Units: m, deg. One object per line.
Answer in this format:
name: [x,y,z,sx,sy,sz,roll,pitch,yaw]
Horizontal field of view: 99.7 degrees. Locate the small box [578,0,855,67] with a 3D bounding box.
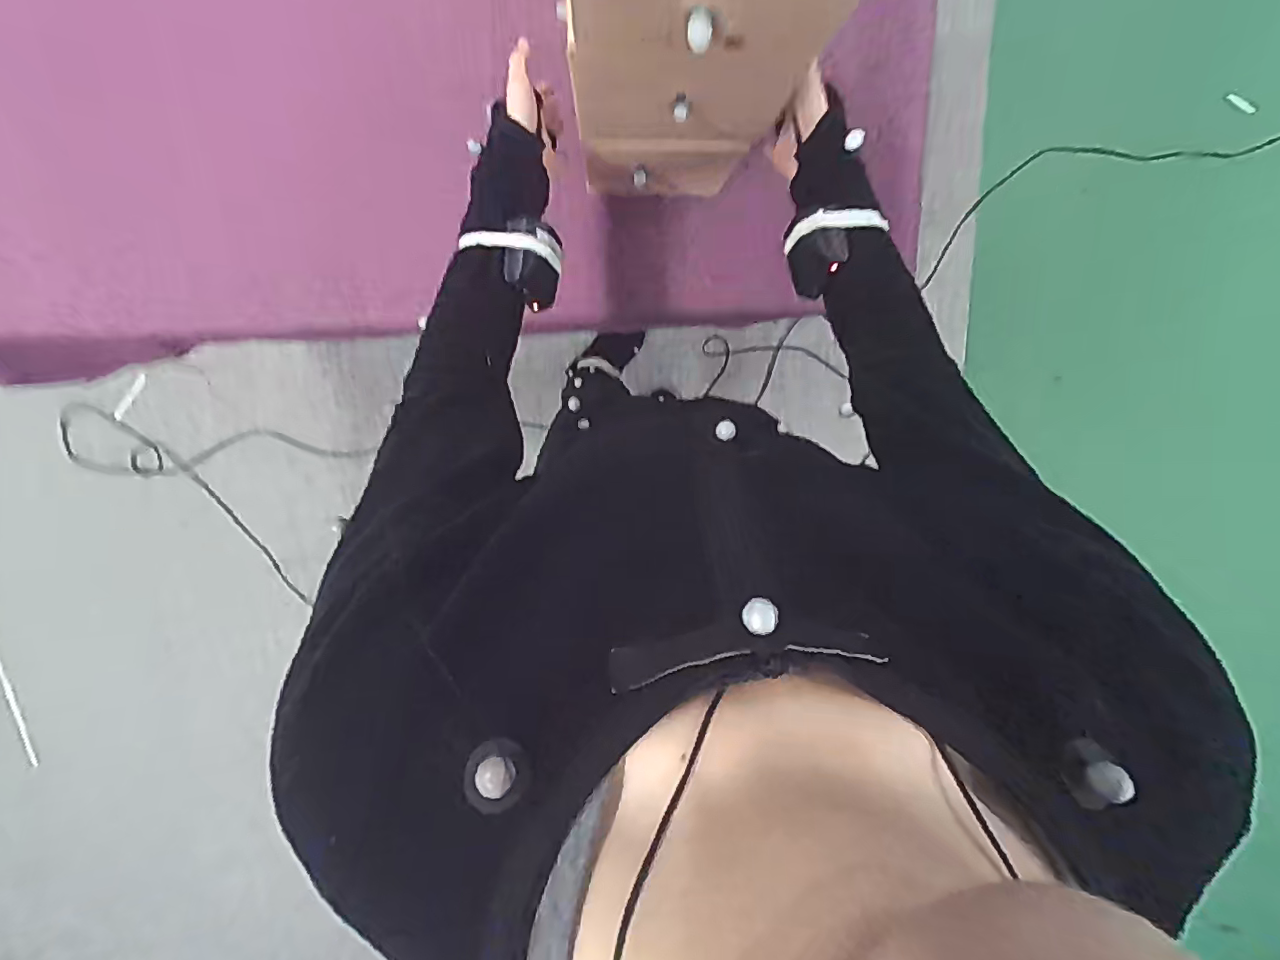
small box: [0.044,-0.351,0.269,0.168,0.176,0.179,-2,102,-3]

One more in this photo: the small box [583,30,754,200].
small box: [0.025,-0.422,0.590,0.168,0.176,0.179,-1,101,-4]
